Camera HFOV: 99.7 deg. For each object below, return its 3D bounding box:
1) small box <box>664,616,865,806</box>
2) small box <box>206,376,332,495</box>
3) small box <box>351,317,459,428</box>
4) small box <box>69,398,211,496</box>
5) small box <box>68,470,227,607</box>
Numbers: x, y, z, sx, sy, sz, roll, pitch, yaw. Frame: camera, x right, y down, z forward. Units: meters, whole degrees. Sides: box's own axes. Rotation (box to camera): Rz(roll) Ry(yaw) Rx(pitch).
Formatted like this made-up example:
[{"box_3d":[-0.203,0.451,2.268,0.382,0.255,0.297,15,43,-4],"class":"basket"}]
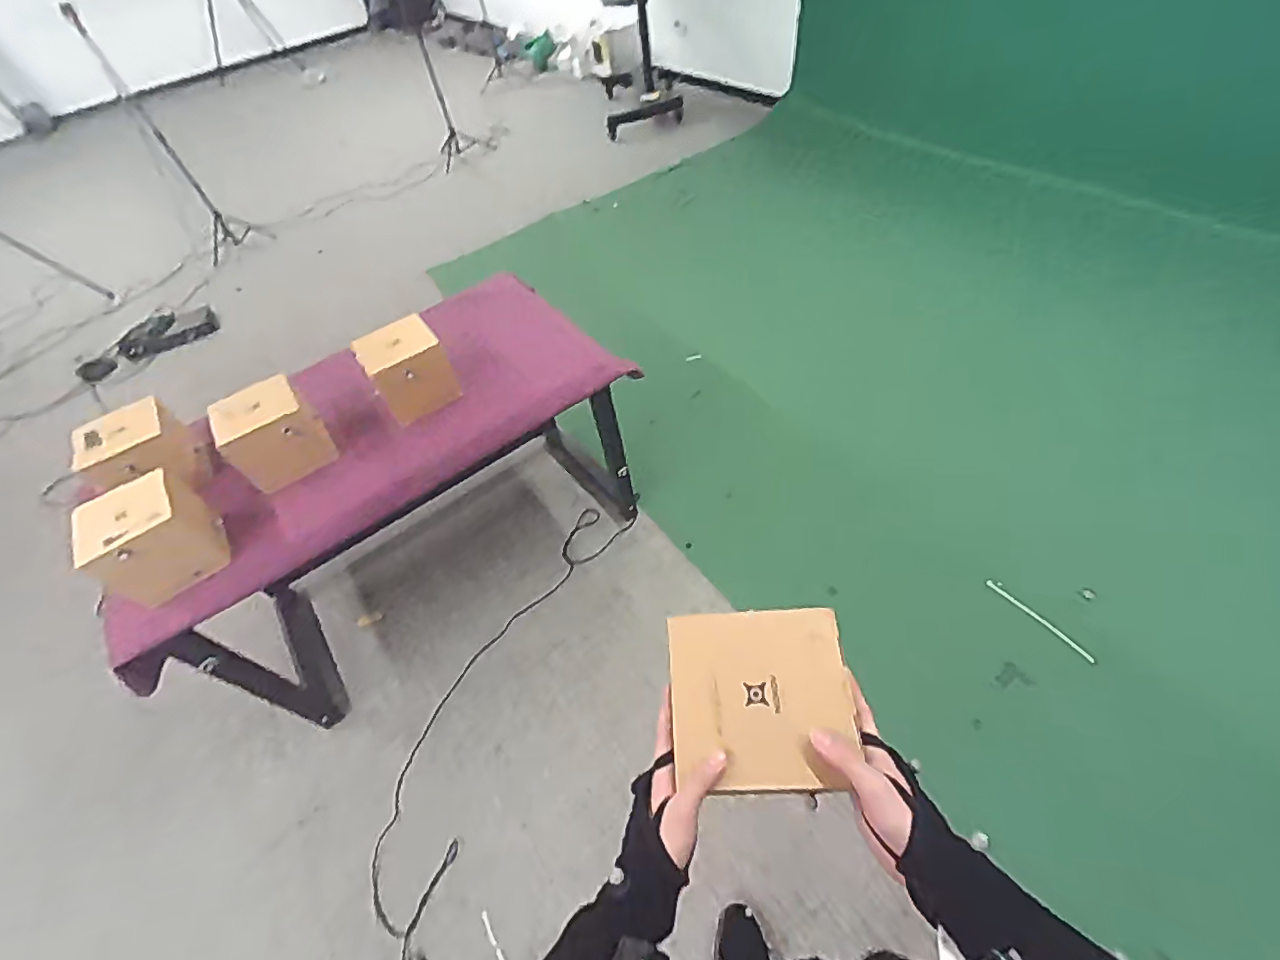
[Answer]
[{"box_3d":[0.119,0.254,0.586,0.179,0.176,0.168,-4,58,5],"class":"small box"},{"box_3d":[-0.840,-0.101,1.242,0.179,0.176,0.168,-32,54,-17],"class":"small box"},{"box_3d":[-0.571,-0.265,1.338,0.179,0.176,0.168,-33,55,-16],"class":"small box"},{"box_3d":[-1.145,-0.050,1.246,0.179,0.176,0.168,-32,54,-18],"class":"small box"},{"box_3d":[-0.976,0.120,1.082,0.168,0.176,0.179,-35,53,-18],"class":"small box"}]
